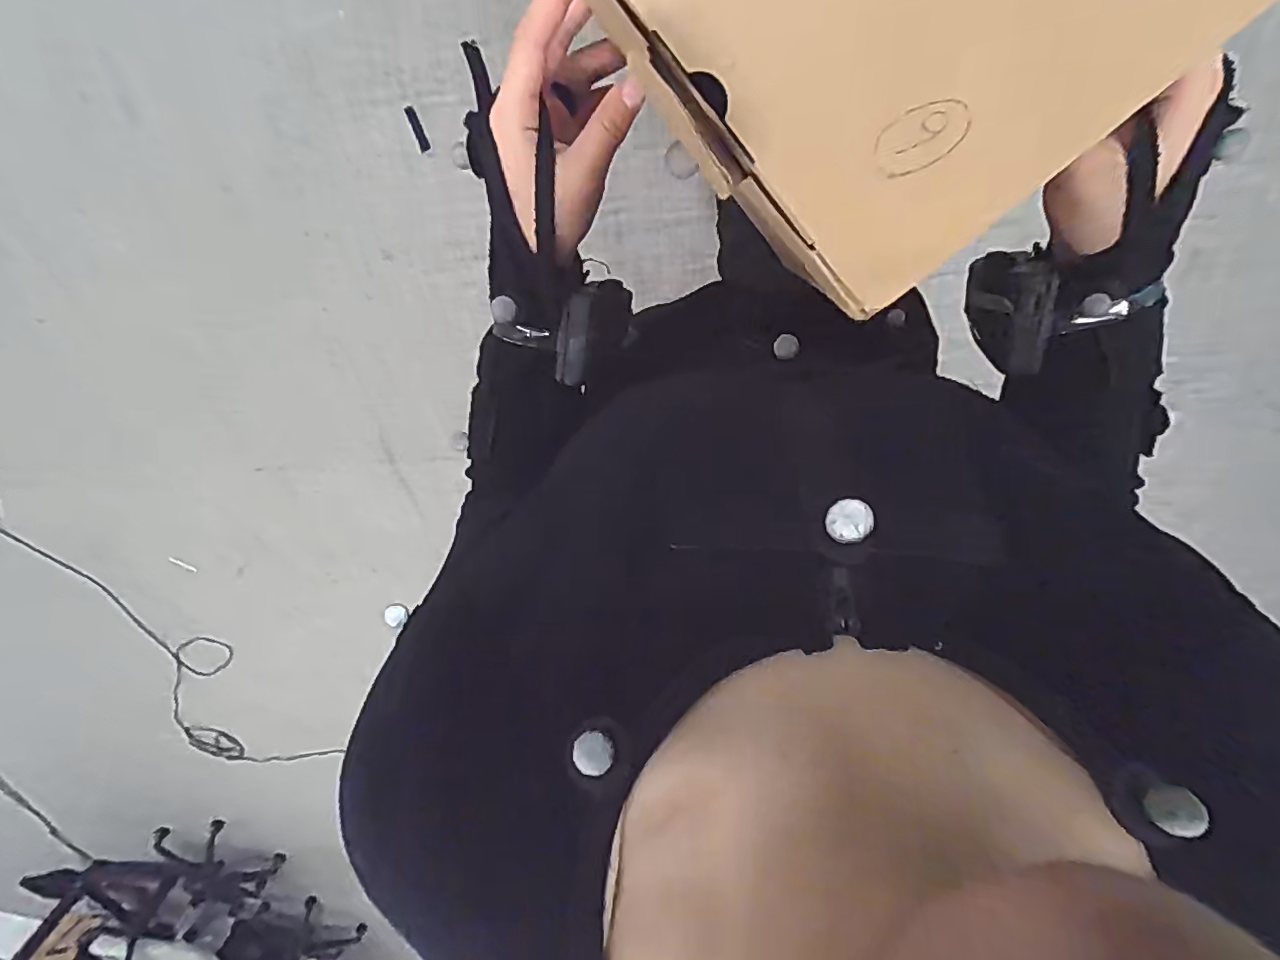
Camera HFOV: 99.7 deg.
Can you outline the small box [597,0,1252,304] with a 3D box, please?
[{"bbox_3d":[0.090,-0.199,0.204,0.179,0.176,0.168,-39,107,23],"label":"small box"}]
